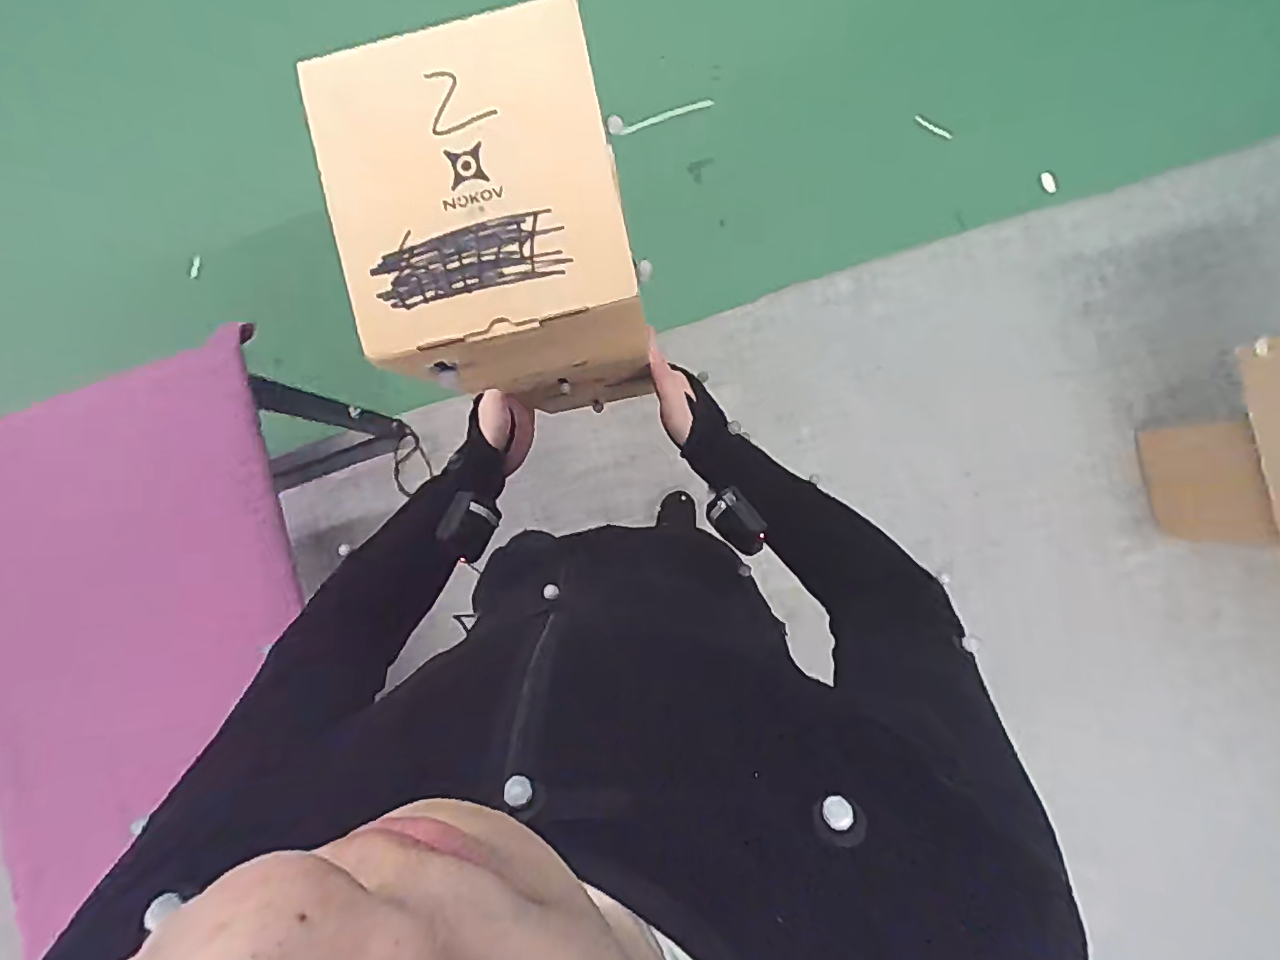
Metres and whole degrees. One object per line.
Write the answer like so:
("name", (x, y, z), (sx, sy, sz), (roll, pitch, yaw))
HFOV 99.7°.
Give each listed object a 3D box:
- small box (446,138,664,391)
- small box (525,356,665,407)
("small box", (-0.071, -0.196, 0.541), (0.168, 0.176, 0.179), (-10, 93, 3))
("small box", (-0.063, -0.199, 0.703), (0.168, 0.176, 0.179), (-10, 93, 4))
